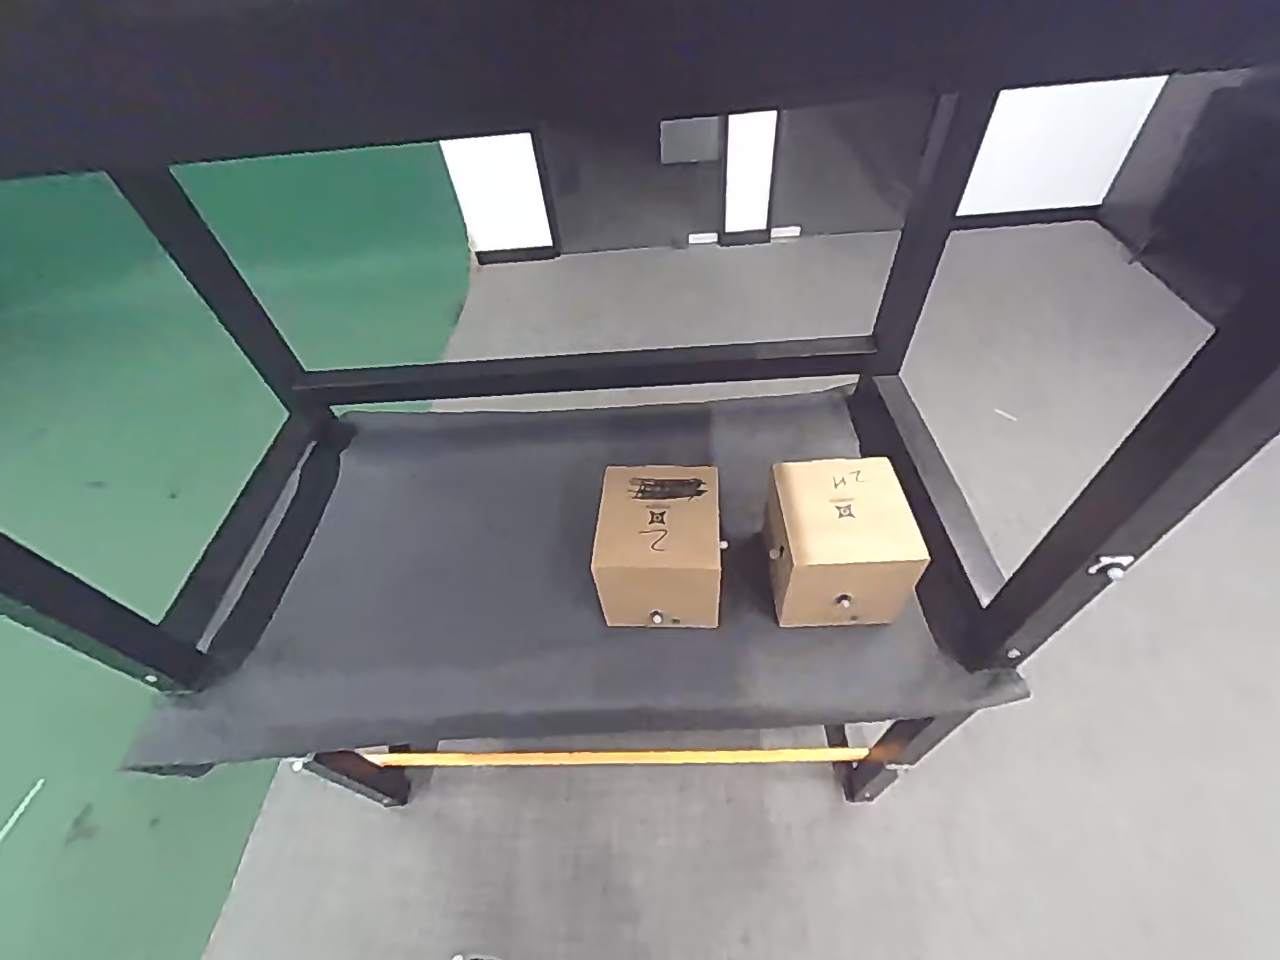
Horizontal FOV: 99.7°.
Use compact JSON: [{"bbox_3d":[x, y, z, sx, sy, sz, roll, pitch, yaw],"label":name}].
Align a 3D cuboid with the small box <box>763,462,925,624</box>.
[{"bbox_3d":[0.275,0.096,0.777,0.168,0.176,0.179,-3,47,3],"label":"small box"}]
